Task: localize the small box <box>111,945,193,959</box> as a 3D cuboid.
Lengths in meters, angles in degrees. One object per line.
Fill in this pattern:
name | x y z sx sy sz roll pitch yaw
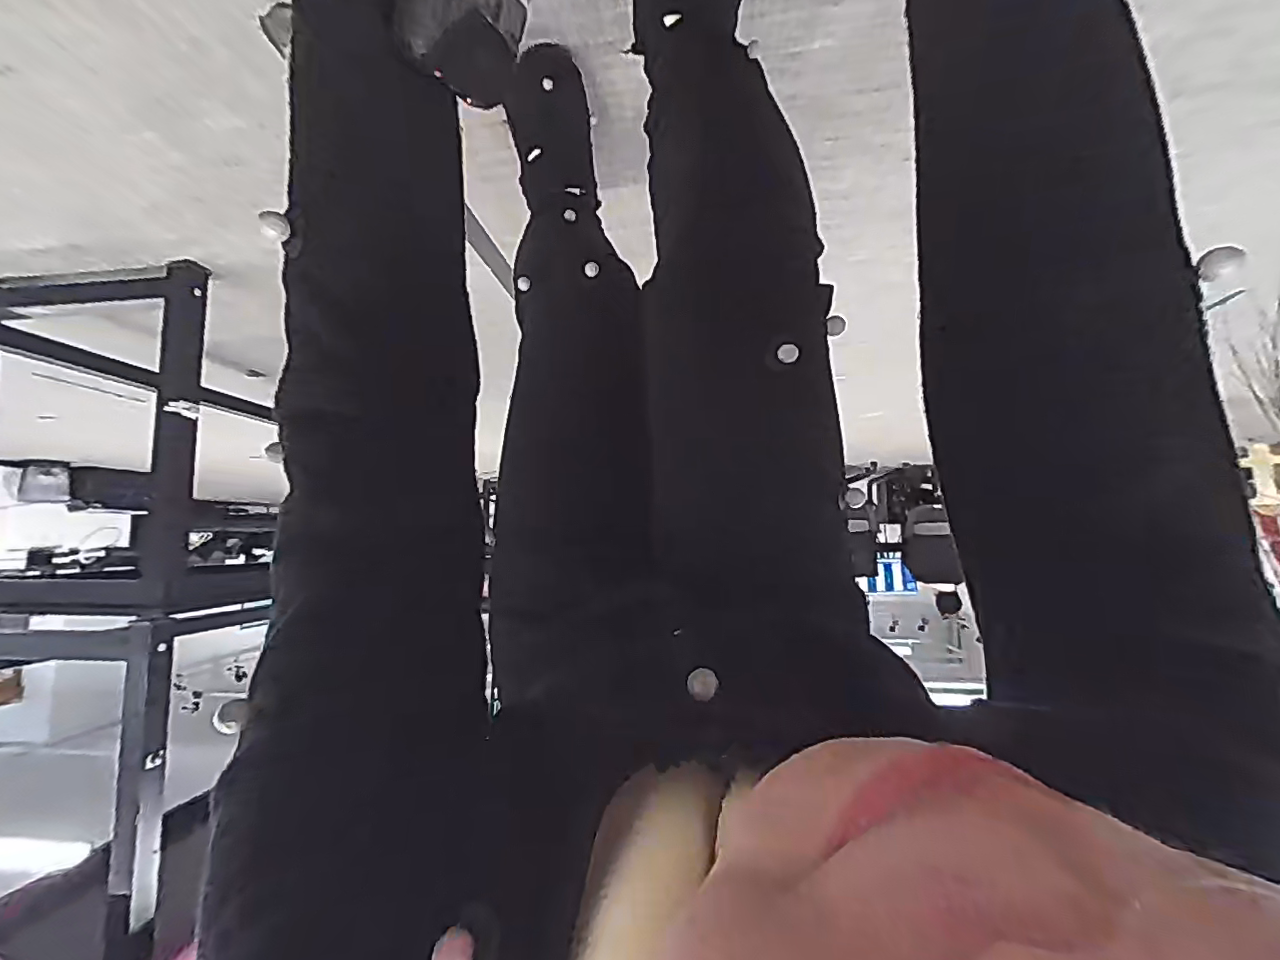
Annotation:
small box | -1.040 1.083 1.083 0.179 0.176 0.168 -2 175 13
